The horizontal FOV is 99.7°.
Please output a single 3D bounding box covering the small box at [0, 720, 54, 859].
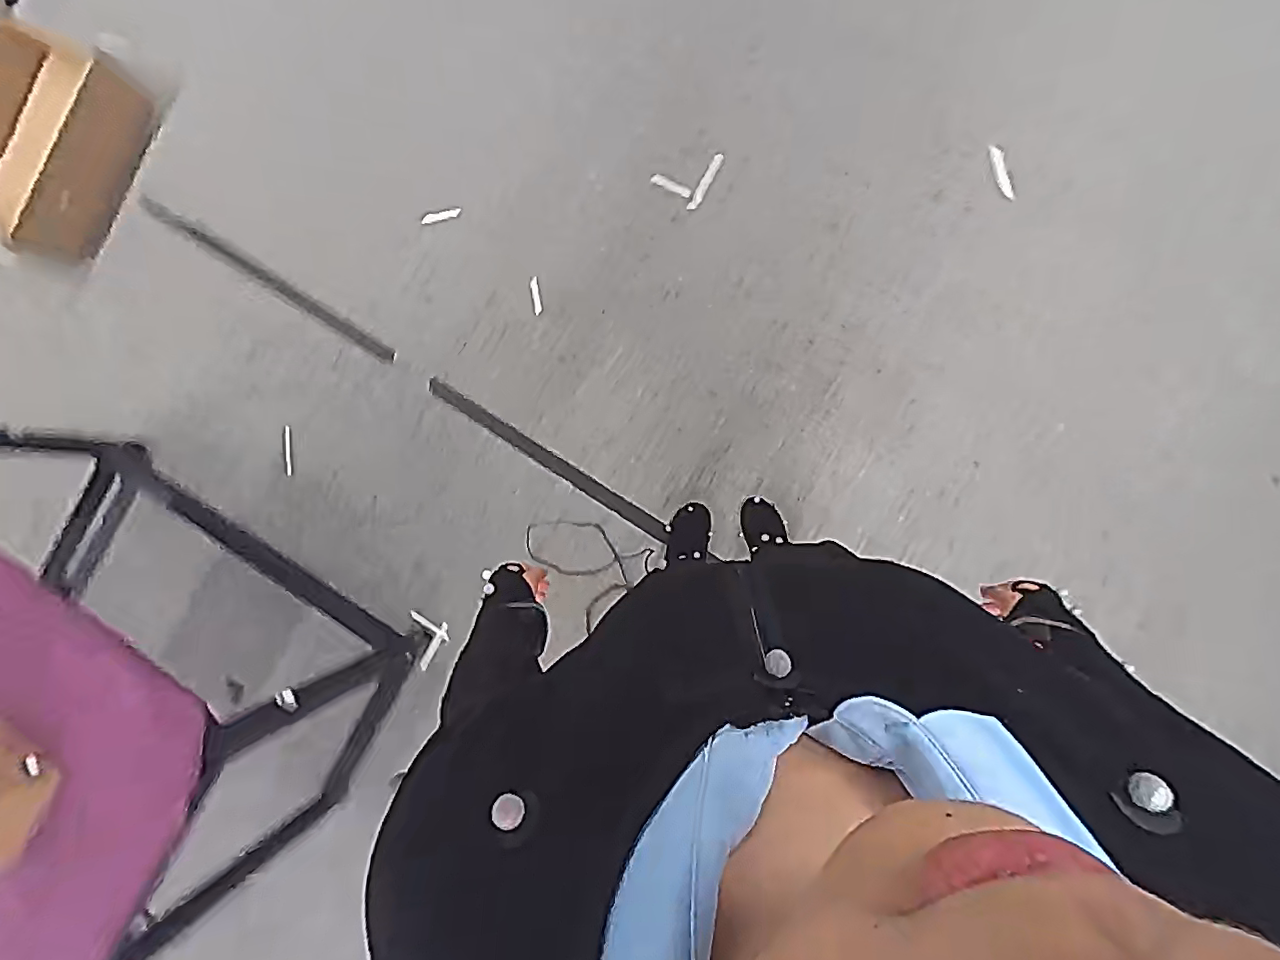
[{"bbox_3d":[-1.069,0.502,0.822,0.168,0.176,0.179,32,92,8],"label":"small box"}]
